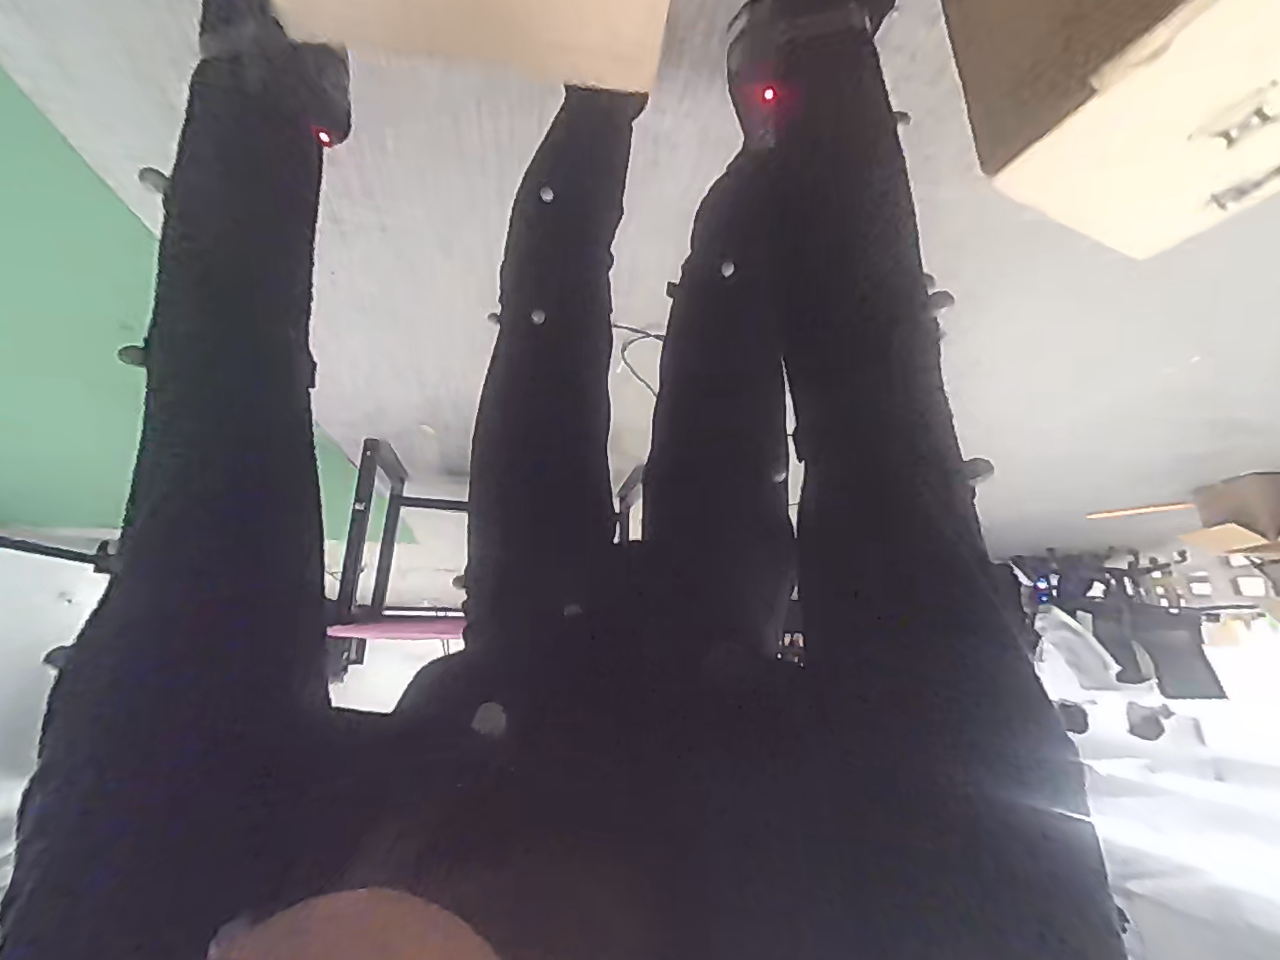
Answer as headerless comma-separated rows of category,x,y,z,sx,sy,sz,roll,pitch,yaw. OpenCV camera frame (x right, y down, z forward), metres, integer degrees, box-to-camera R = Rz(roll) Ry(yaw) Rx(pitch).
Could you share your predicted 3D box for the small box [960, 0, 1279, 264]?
small box,0.318,-0.264,0.307,0.179,0.176,0.168,9,160,-23
